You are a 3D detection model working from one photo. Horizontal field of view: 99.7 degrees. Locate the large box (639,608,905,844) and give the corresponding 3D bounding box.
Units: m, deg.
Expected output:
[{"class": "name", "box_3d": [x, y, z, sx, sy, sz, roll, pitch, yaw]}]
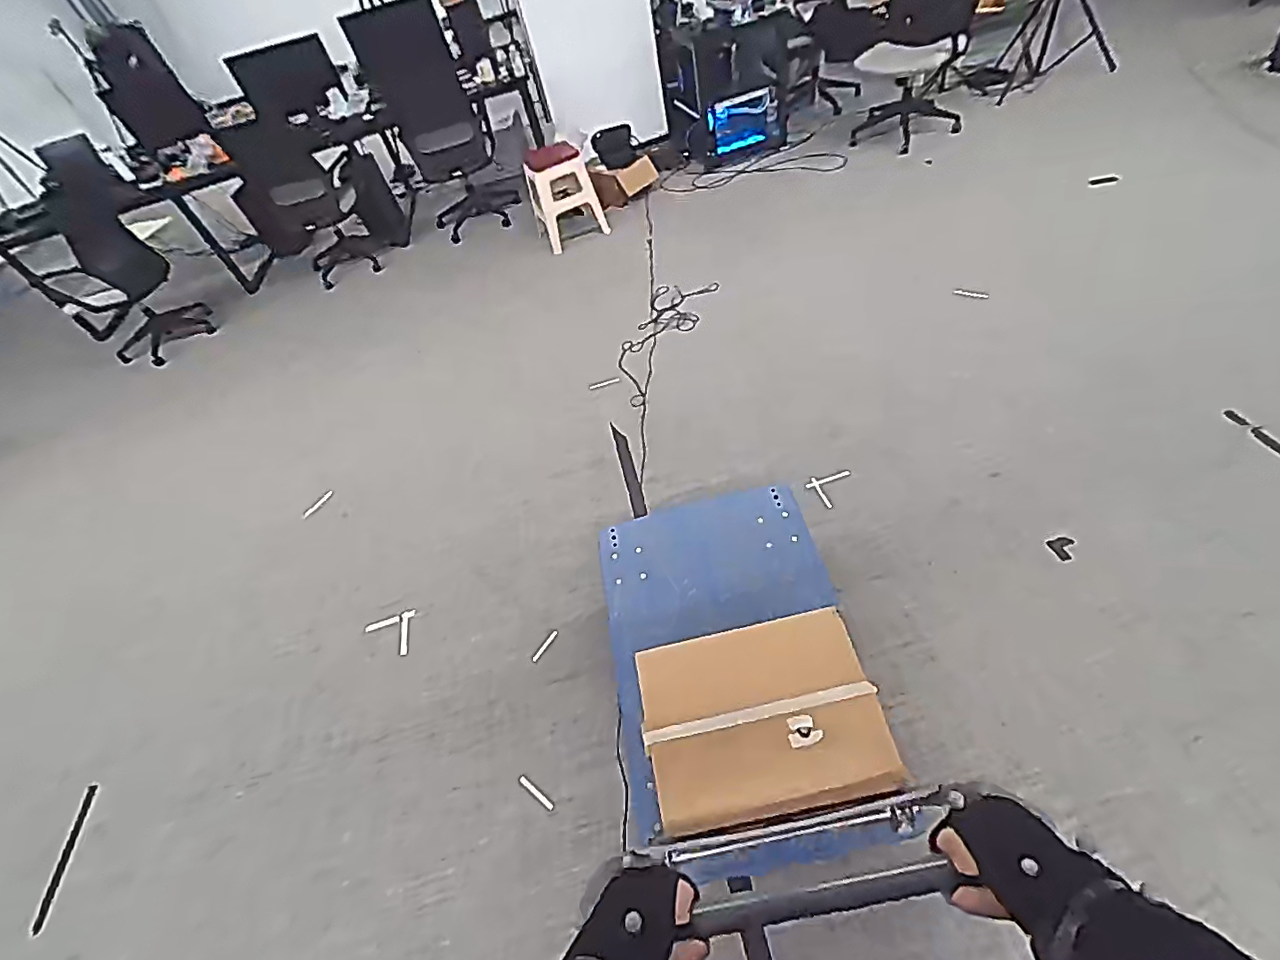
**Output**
[{"class": "large box", "box_3d": [0.241, 0.505, 1.091, 0.408, 0.320, 0.320, -14, 54, 2]}]
